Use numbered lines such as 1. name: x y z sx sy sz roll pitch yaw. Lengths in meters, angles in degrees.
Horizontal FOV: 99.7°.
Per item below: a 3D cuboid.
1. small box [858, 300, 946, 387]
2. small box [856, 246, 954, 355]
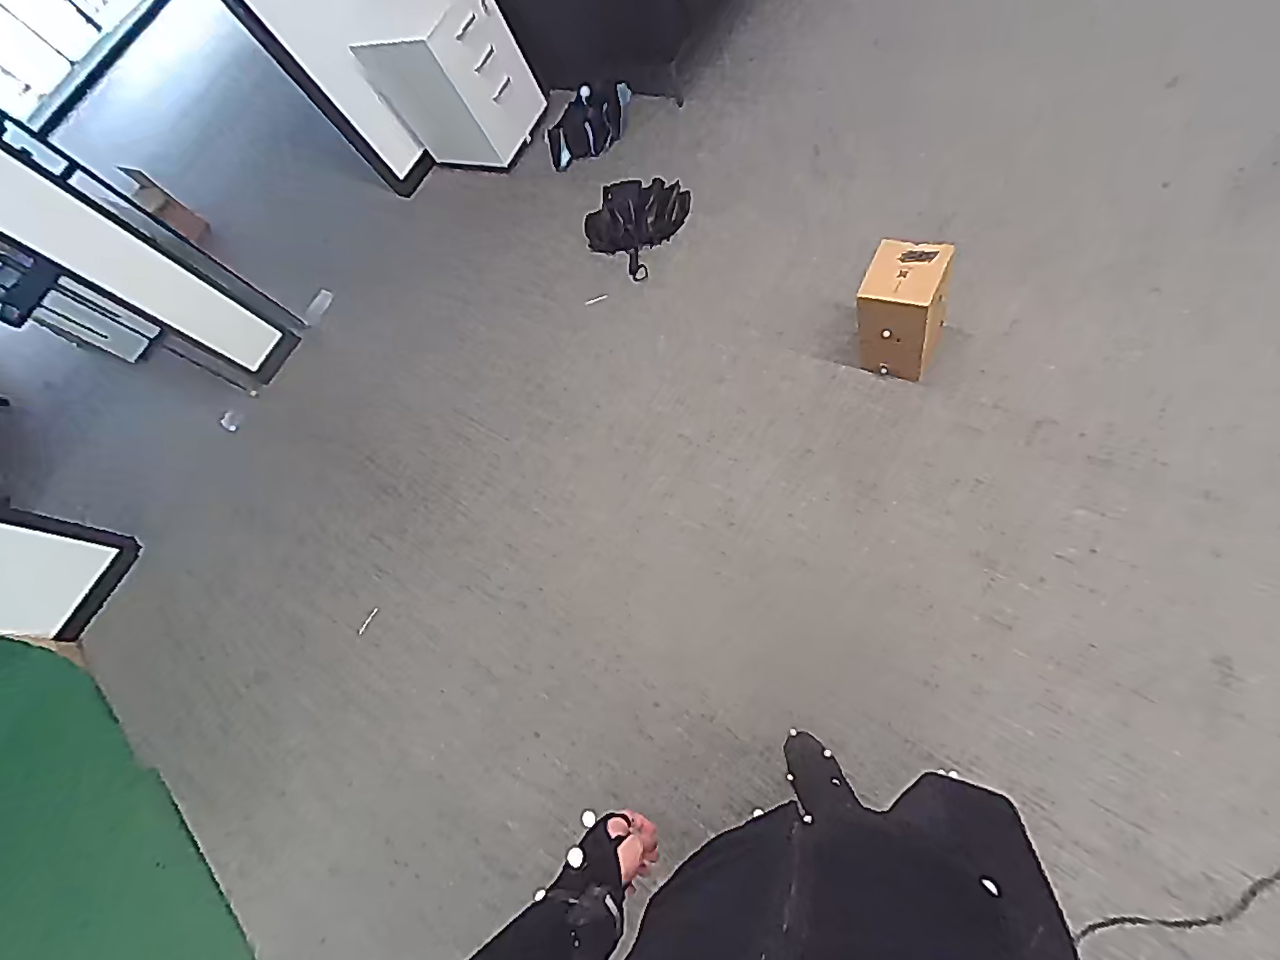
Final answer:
1. small box: 0.709 -0.385 1.478 0.168 0.176 0.179 22 79 29
2. small box: 0.646 -0.442 1.336 0.168 0.176 0.179 22 78 29
